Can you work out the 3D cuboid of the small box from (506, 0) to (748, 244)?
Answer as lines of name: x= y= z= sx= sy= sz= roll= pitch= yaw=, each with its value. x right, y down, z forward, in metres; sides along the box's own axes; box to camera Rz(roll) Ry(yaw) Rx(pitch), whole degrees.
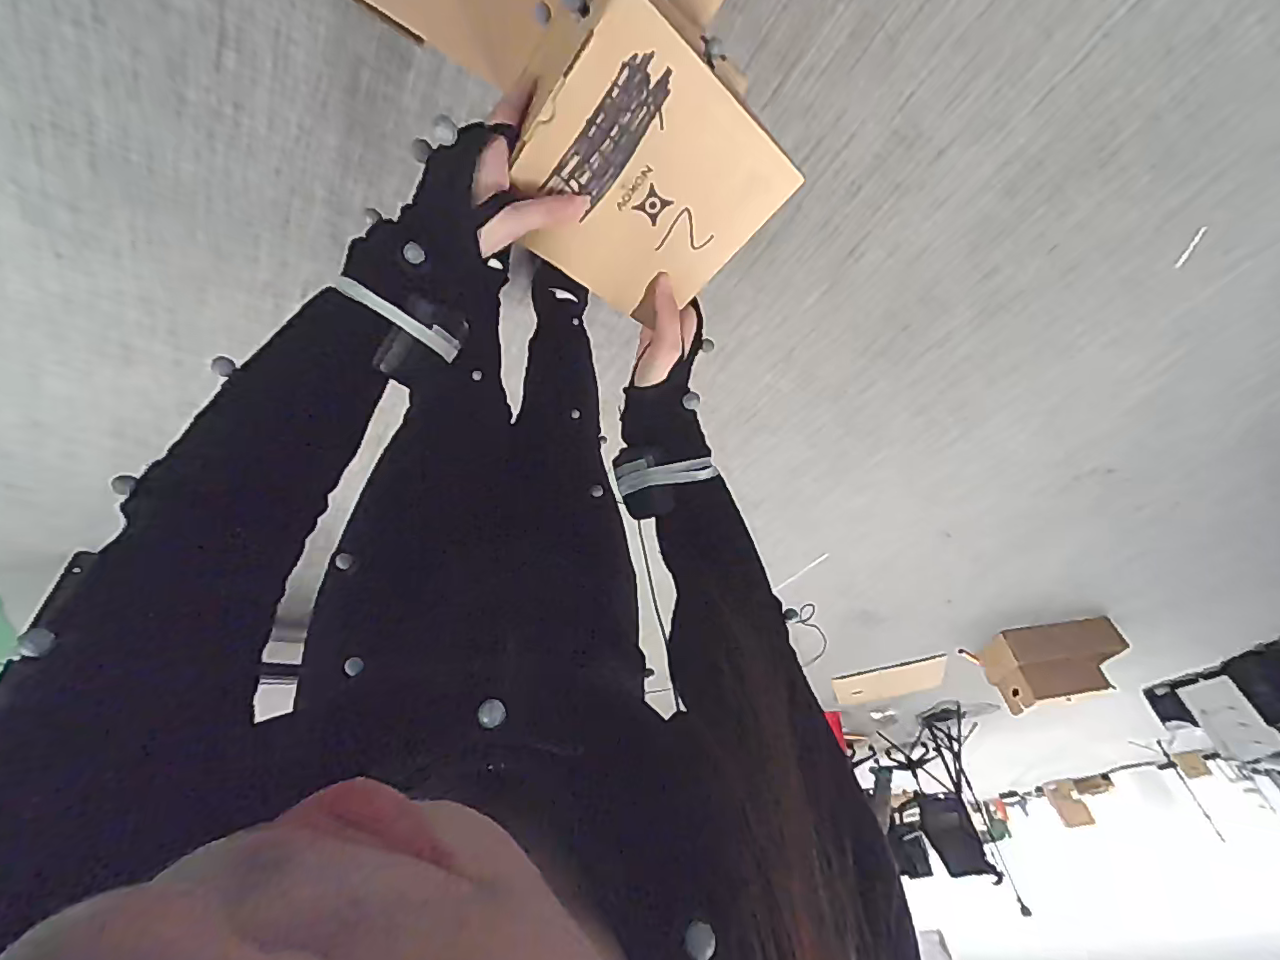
small box: x=-0.025 y=-0.390 z=0.549 sx=0.168 sy=0.176 sz=0.179 roll=21 pitch=131 yaw=-31
